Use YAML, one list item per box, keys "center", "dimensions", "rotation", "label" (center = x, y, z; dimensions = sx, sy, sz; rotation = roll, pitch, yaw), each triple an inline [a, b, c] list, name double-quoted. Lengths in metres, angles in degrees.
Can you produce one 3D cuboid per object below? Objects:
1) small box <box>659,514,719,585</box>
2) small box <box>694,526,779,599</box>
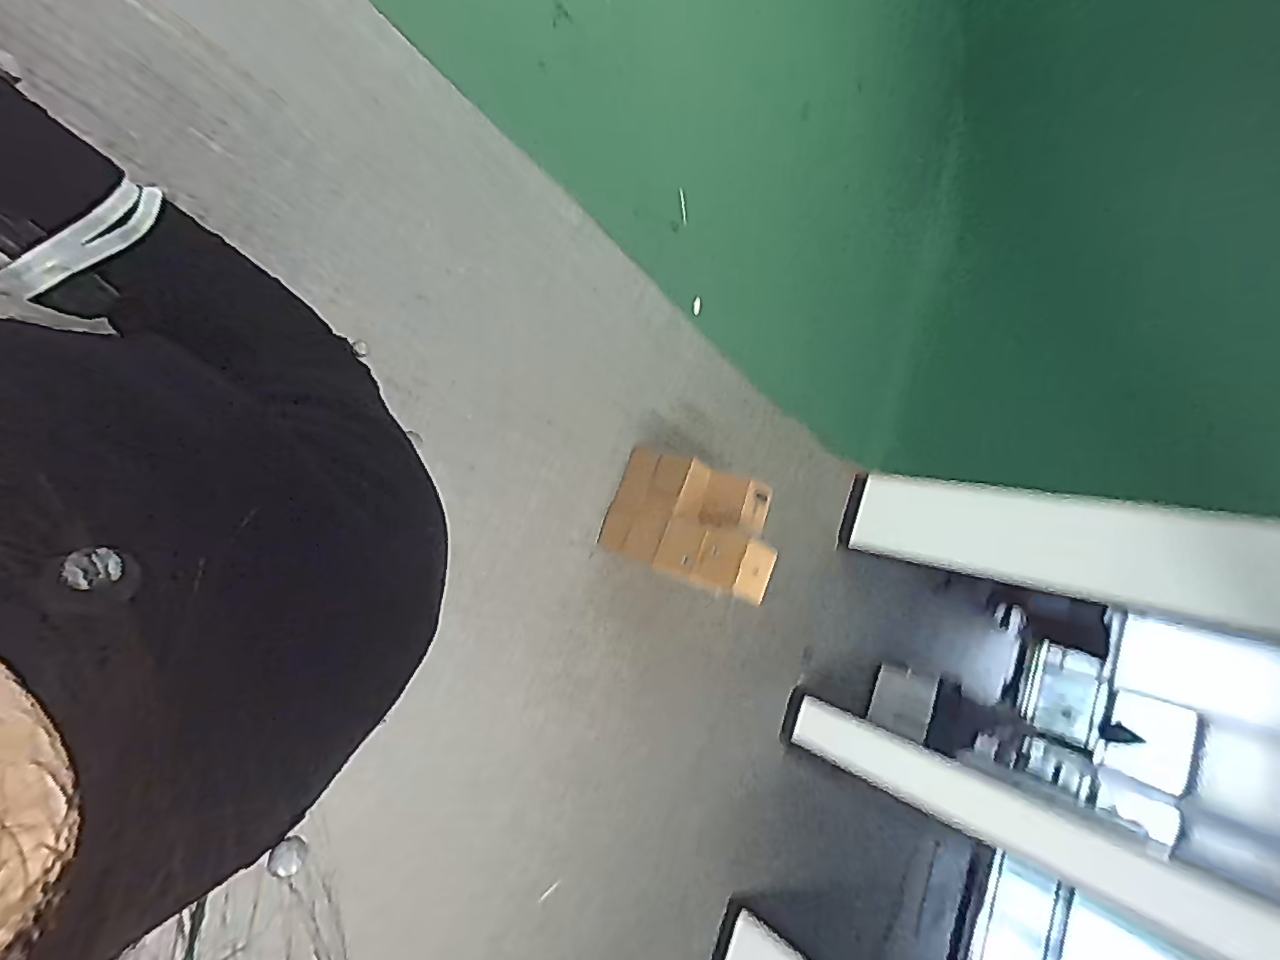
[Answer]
- center: [0.187, 0.230, 1.814]
  dimensions: [0.168, 0.176, 0.179]
  rotation: [31, 77, -44]
  label: "small box"
- center: [0.302, 0.255, 1.702]
  dimensions: [0.179, 0.176, 0.168]
  rotation: [31, 78, -43]
  label: "small box"
